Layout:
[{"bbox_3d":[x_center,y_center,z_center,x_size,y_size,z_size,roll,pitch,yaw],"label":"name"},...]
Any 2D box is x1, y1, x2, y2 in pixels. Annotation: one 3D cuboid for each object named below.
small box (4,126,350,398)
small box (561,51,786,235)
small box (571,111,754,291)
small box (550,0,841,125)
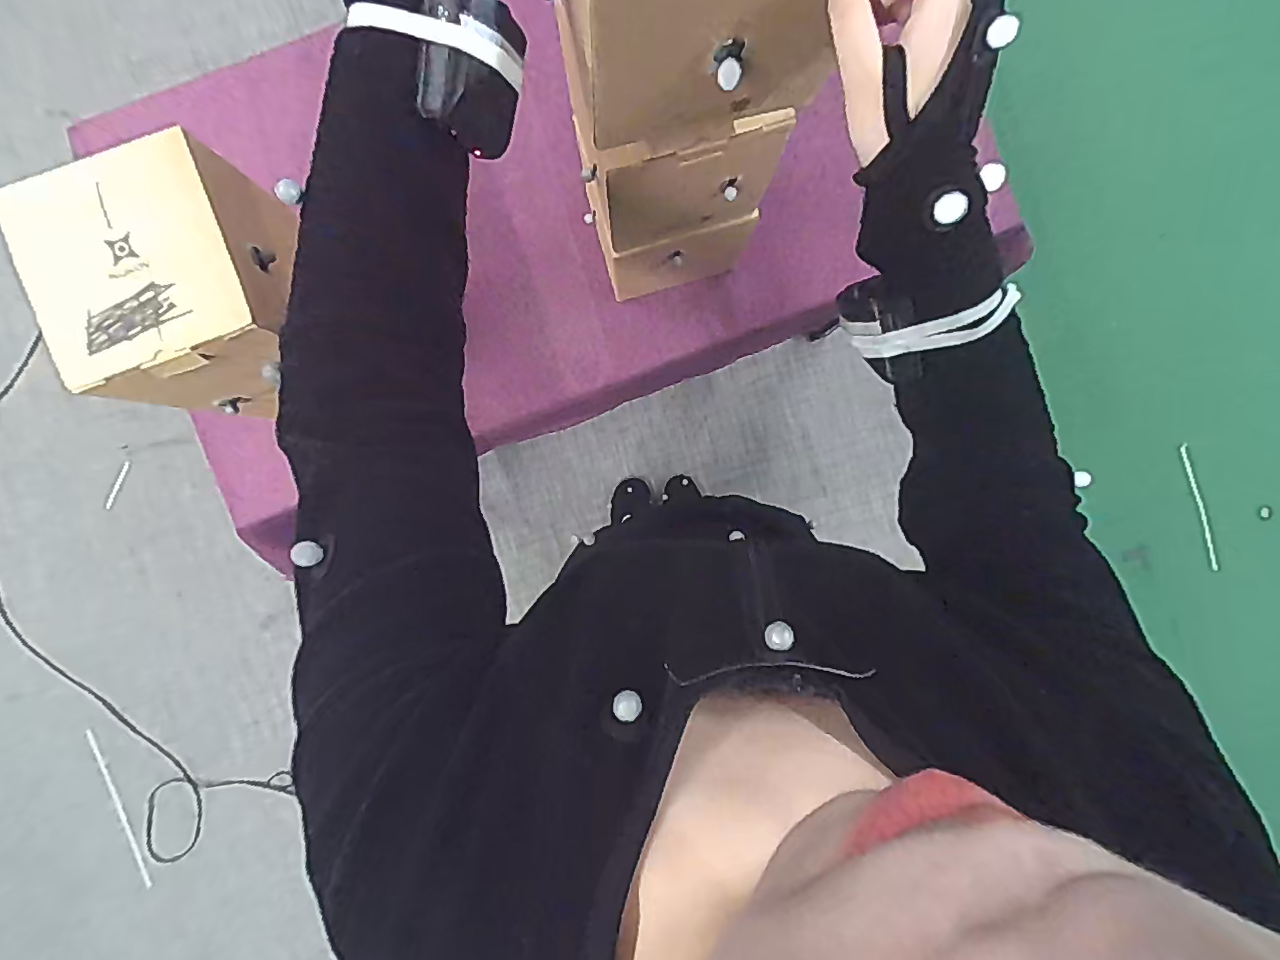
[{"bbox_3d":[-0.423,-0.188,0.530,0.168,0.176,0.179,-20,91,0],"label":"small box"},{"bbox_3d":[0.023,-0.361,0.521,0.168,0.176,0.179,-15,91,0],"label":"small box"},{"bbox_3d":[0.027,-0.359,0.684,0.179,0.176,0.168,-15,93,1],"label":"small box"},{"bbox_3d":[0.024,-0.337,0.306,0.168,0.176,0.179,-14,97,-2],"label":"small box"}]
